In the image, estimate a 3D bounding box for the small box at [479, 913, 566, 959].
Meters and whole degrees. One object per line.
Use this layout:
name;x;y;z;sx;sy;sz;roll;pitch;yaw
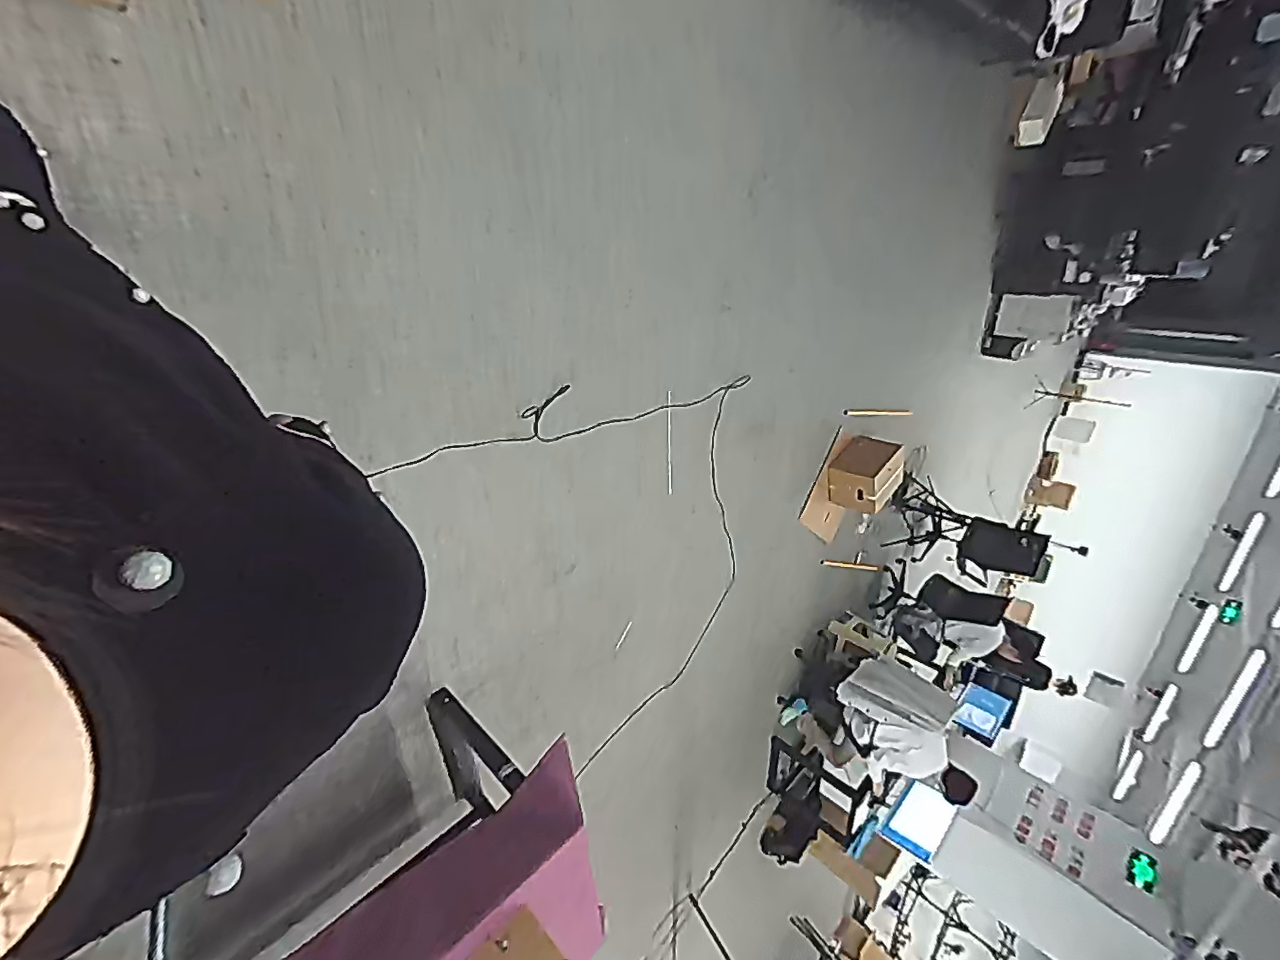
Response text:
small box;-0.267;1.162;1.235;0.179;0.176;0.168;-23;122;-38
